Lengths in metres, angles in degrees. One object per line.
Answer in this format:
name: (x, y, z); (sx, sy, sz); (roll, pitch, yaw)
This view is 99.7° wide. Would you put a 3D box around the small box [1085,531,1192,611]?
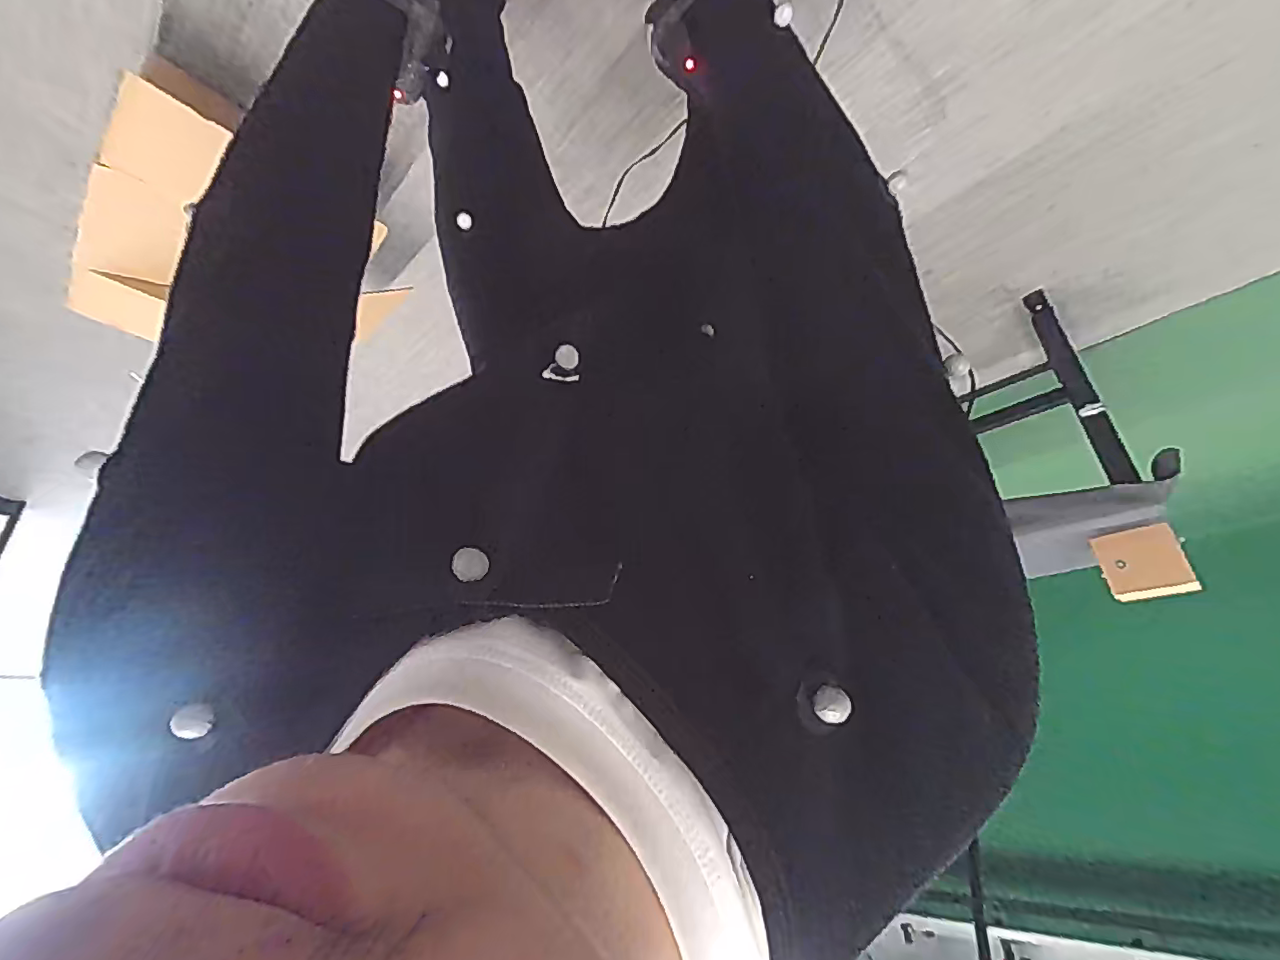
small box: (1.390, 0.258, 1.516); (0.168, 0.176, 0.179); (20, 145, -40)
